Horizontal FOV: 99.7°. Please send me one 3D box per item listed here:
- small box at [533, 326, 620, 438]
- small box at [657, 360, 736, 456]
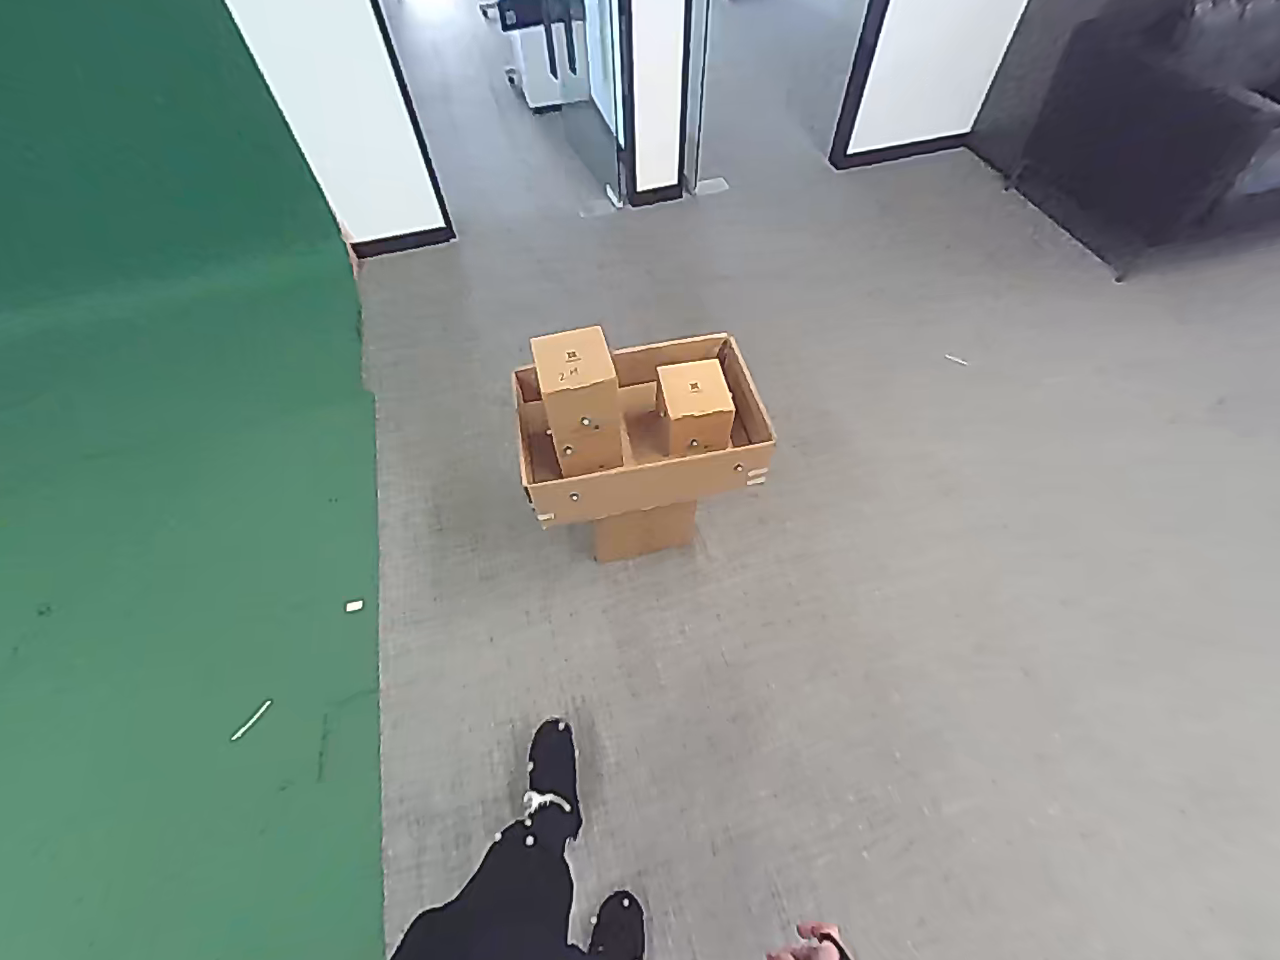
[{"bbox_3d":[-0.144,-0.225,1.249,0.168,0.176,0.179,-12,57,-6],"label":"small box"},{"bbox_3d":[0.140,-0.186,1.419,0.168,0.176,0.179,-8,58,-5],"label":"small box"}]
